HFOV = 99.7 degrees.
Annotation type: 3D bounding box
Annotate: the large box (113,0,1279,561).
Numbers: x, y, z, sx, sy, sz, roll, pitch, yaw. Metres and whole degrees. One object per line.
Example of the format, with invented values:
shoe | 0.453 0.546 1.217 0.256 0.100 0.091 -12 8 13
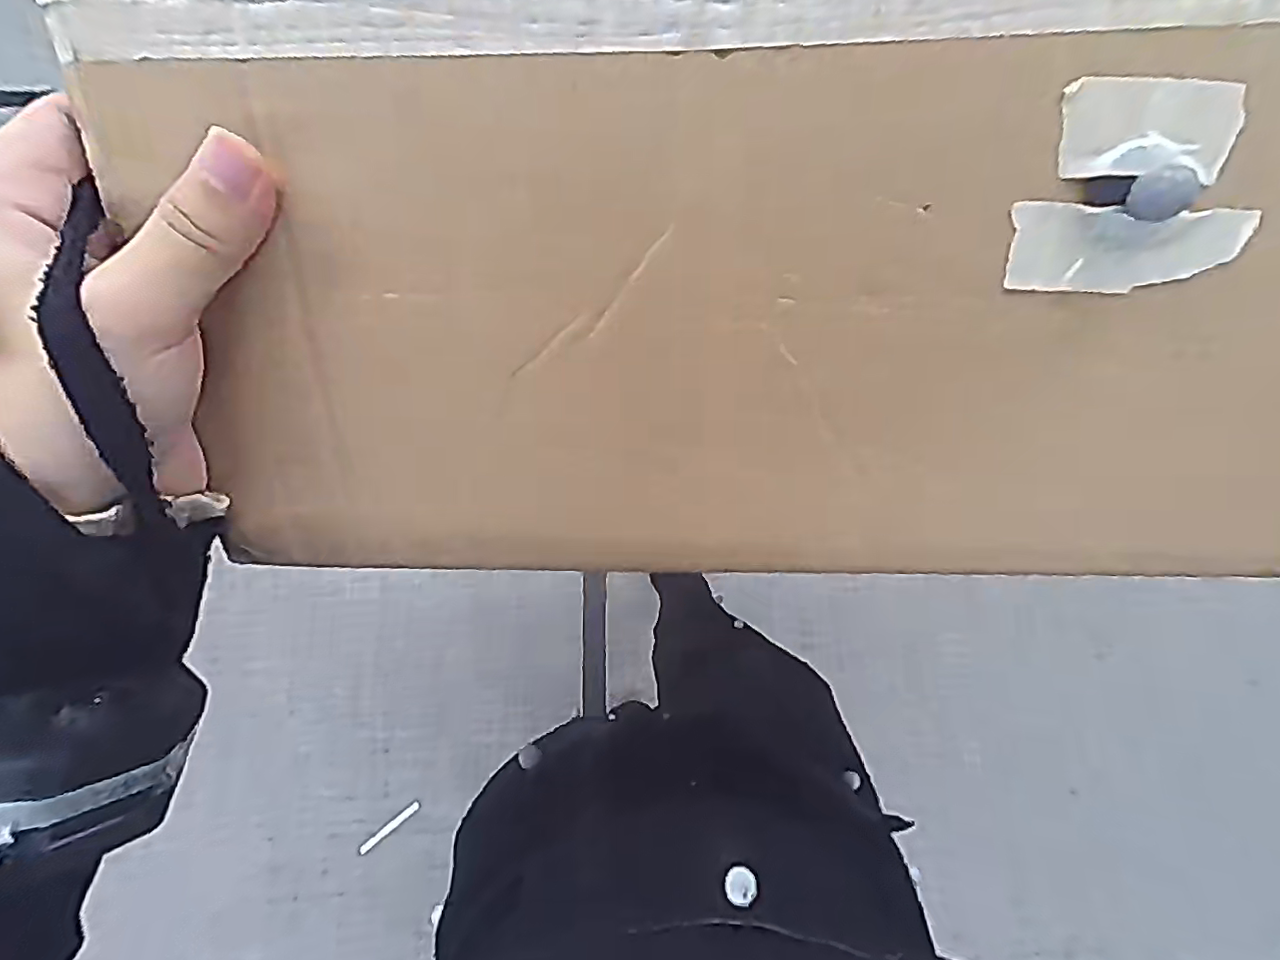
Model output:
large box | 0.060 -0.169 0.281 0.408 0.320 0.320 -1 111 1
